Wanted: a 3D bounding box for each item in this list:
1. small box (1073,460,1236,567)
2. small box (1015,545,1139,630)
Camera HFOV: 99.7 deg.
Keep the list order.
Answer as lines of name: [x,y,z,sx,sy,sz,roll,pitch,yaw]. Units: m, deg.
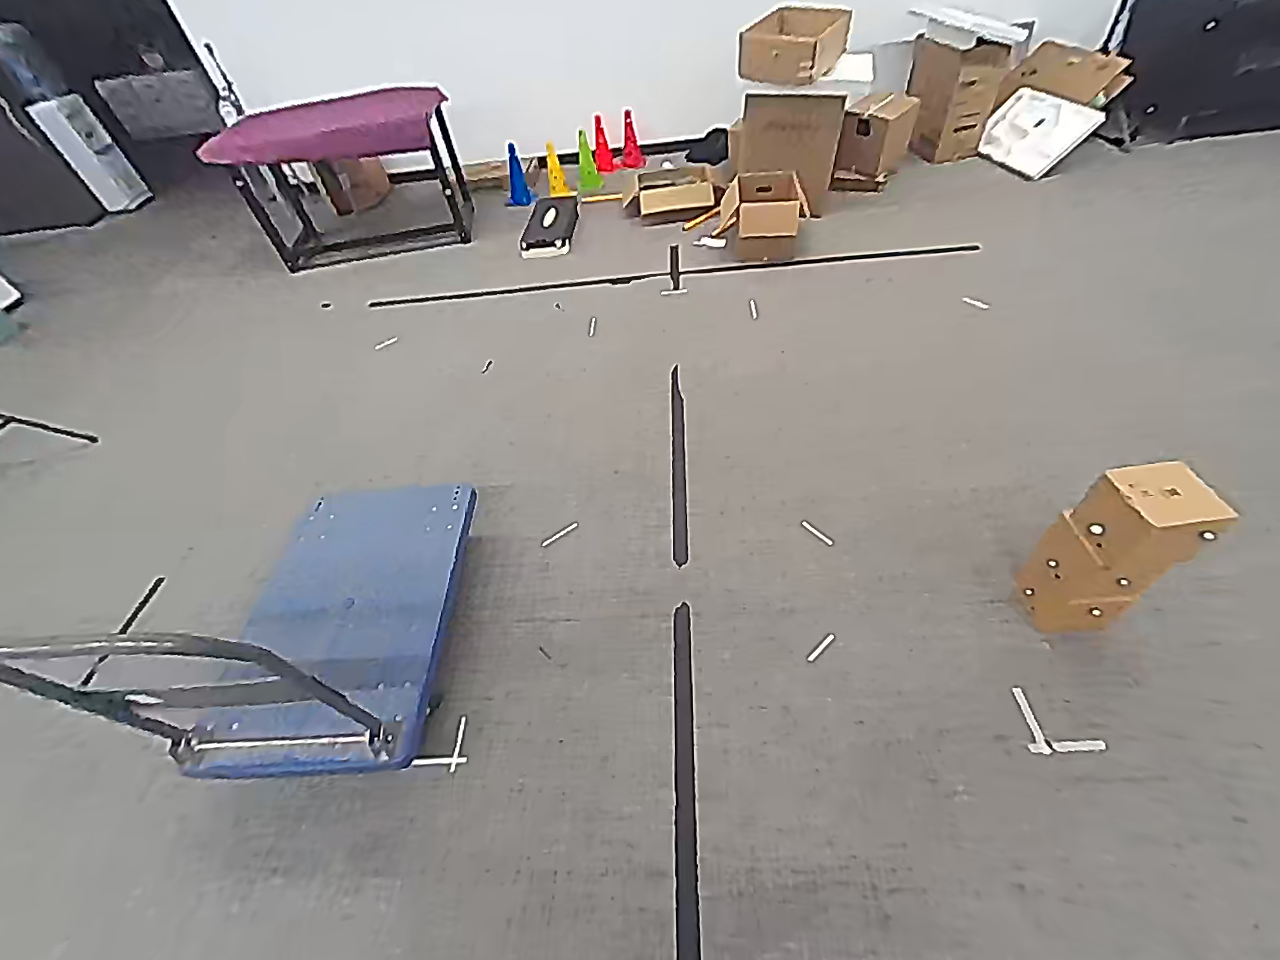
small box: [1.147,0.078,1.226,0.179,0.176,0.168,-8,47,2]
small box: [1.176,0.295,1.473,0.179,0.176,0.168,-5,48,4]
